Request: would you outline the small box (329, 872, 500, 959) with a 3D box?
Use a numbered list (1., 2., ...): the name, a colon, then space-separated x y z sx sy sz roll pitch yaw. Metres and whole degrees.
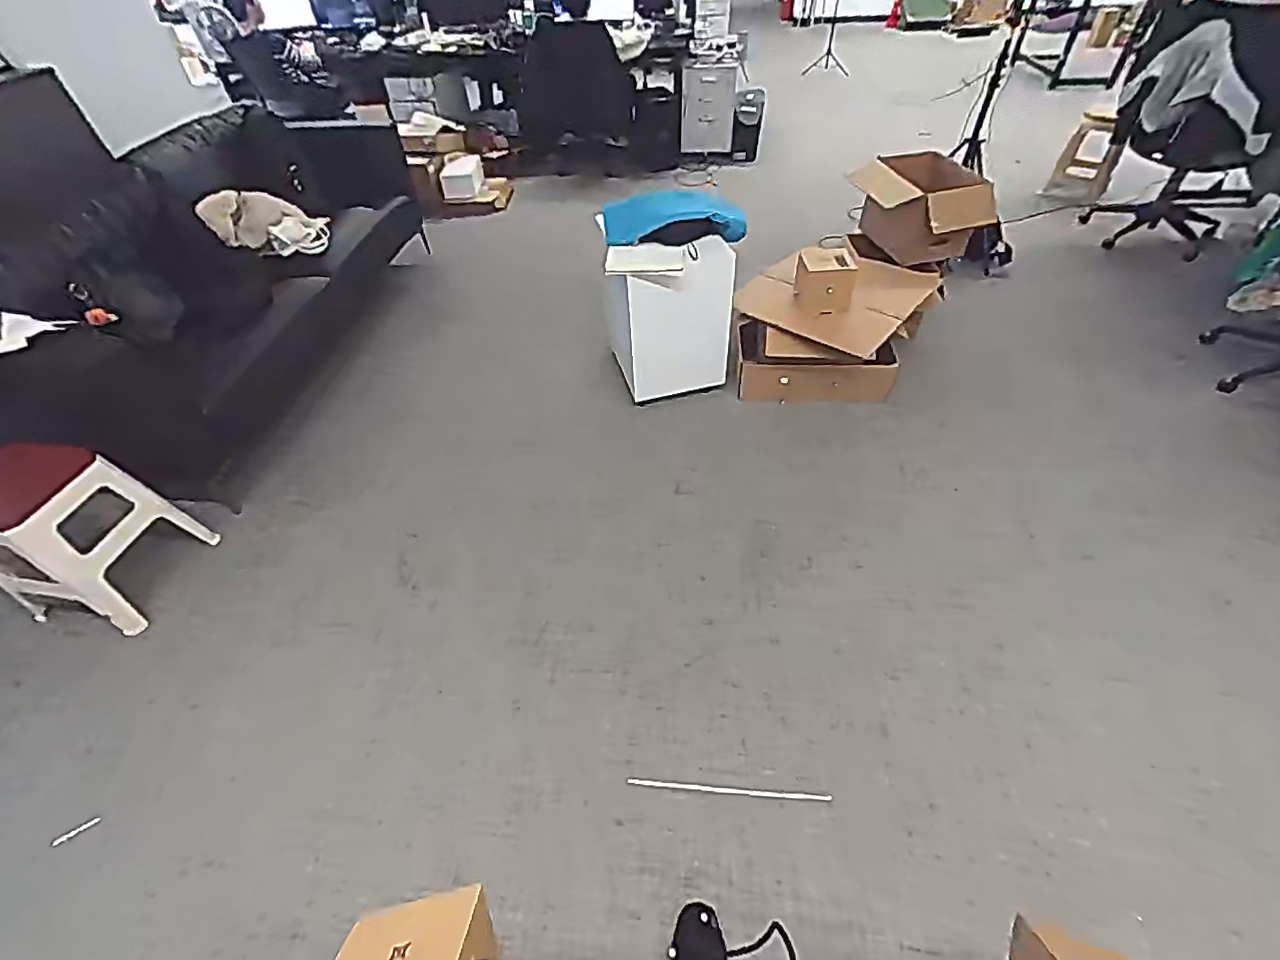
1. small box: -0.268 0.626 0.643 0.168 0.179 0.176 -13 91 -3
